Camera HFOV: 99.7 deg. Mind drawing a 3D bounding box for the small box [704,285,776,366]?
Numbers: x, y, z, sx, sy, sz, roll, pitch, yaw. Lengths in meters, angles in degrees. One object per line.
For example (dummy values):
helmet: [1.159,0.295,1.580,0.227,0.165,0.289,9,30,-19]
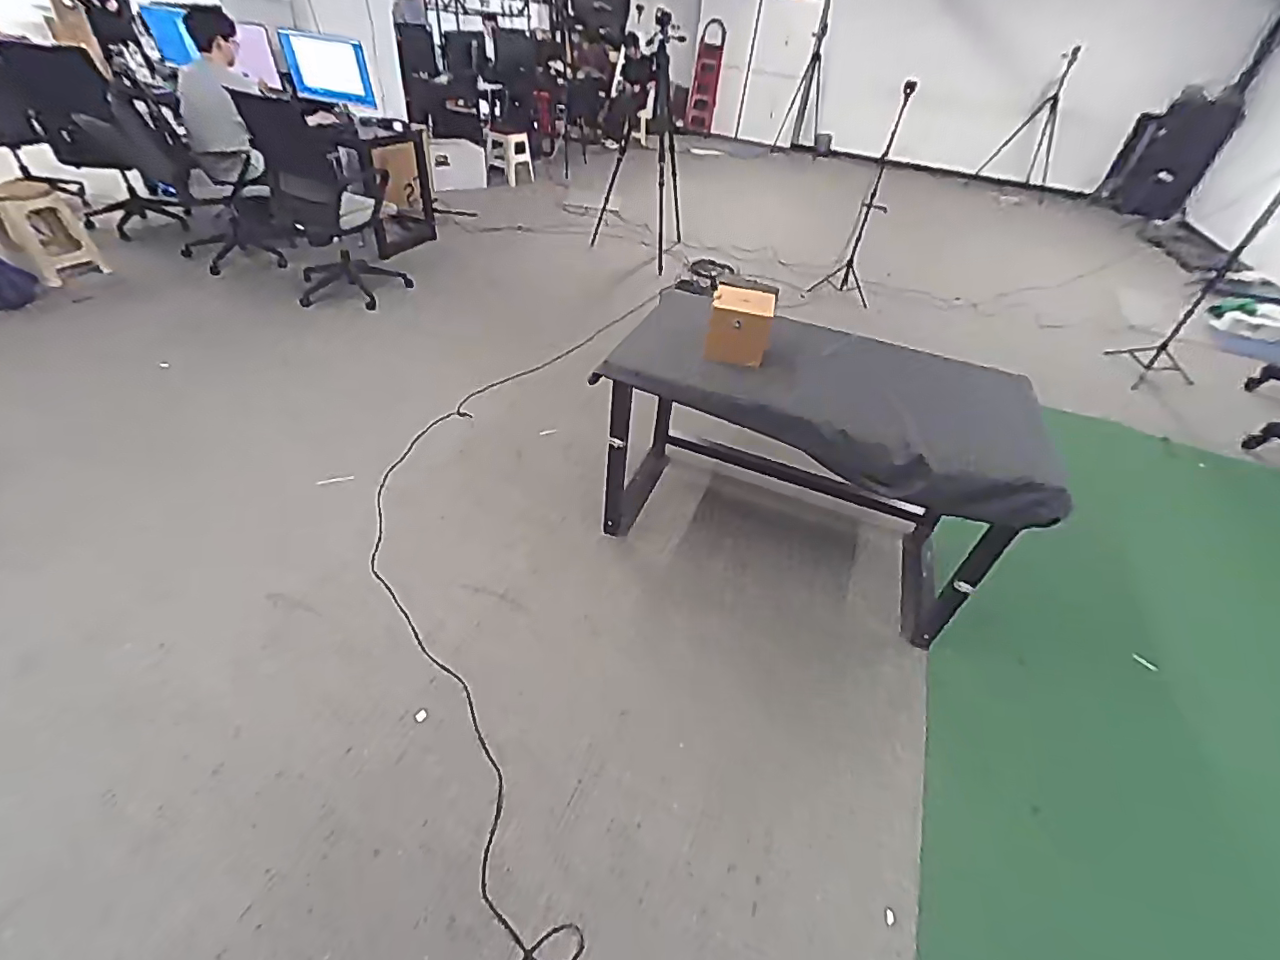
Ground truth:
small box: [0.295,-0.461,1.619,0.179,0.176,0.168,14,43,6]
